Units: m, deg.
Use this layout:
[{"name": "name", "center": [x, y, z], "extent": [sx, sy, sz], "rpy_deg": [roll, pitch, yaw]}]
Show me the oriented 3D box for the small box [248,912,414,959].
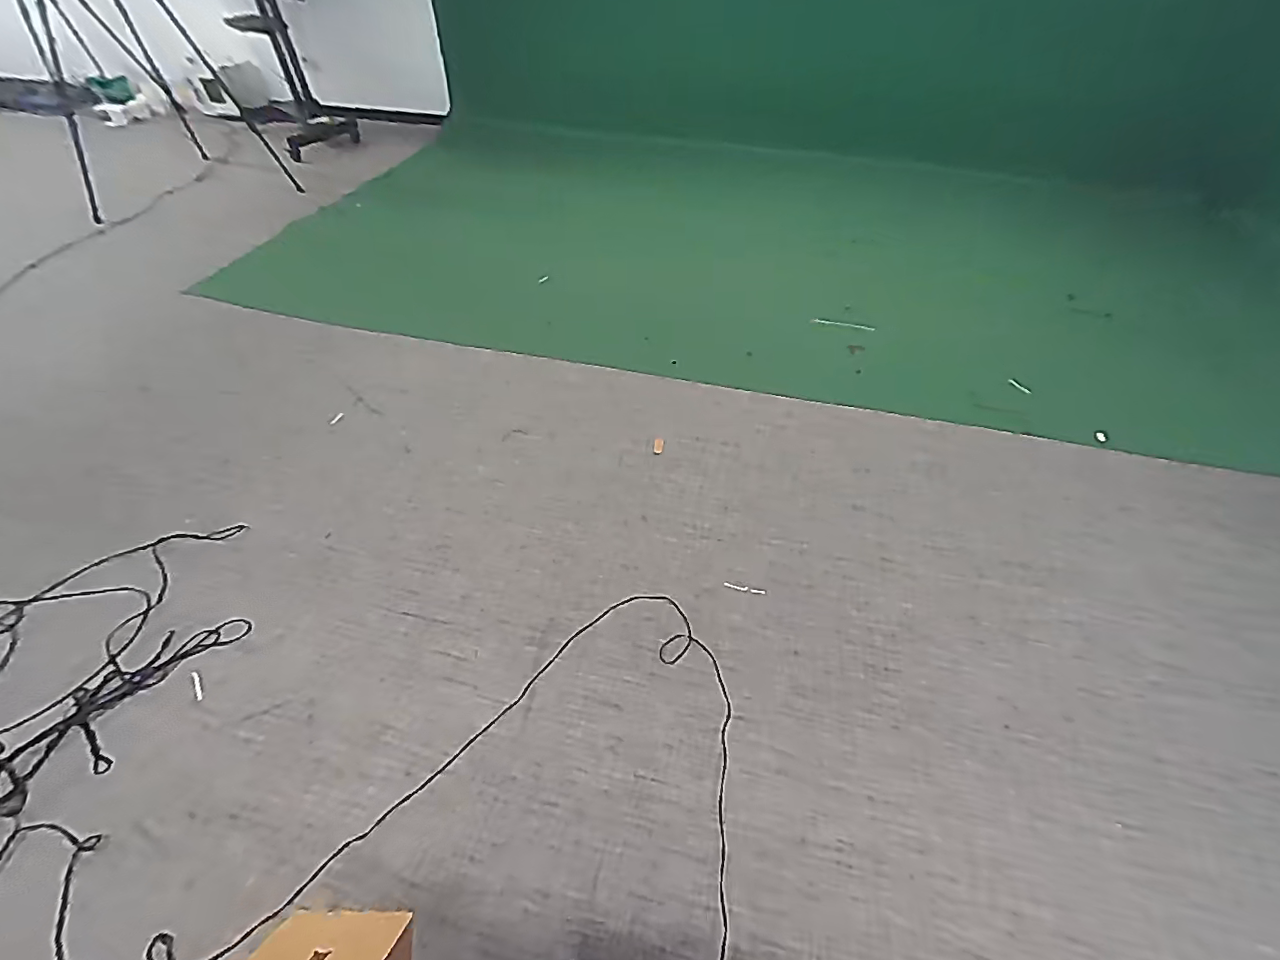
[{"name": "small box", "center": [-0.385, 0.653, 0.631], "extent": [0.168, 0.179, 0.176], "rpy_deg": [0, 82, 0]}]
